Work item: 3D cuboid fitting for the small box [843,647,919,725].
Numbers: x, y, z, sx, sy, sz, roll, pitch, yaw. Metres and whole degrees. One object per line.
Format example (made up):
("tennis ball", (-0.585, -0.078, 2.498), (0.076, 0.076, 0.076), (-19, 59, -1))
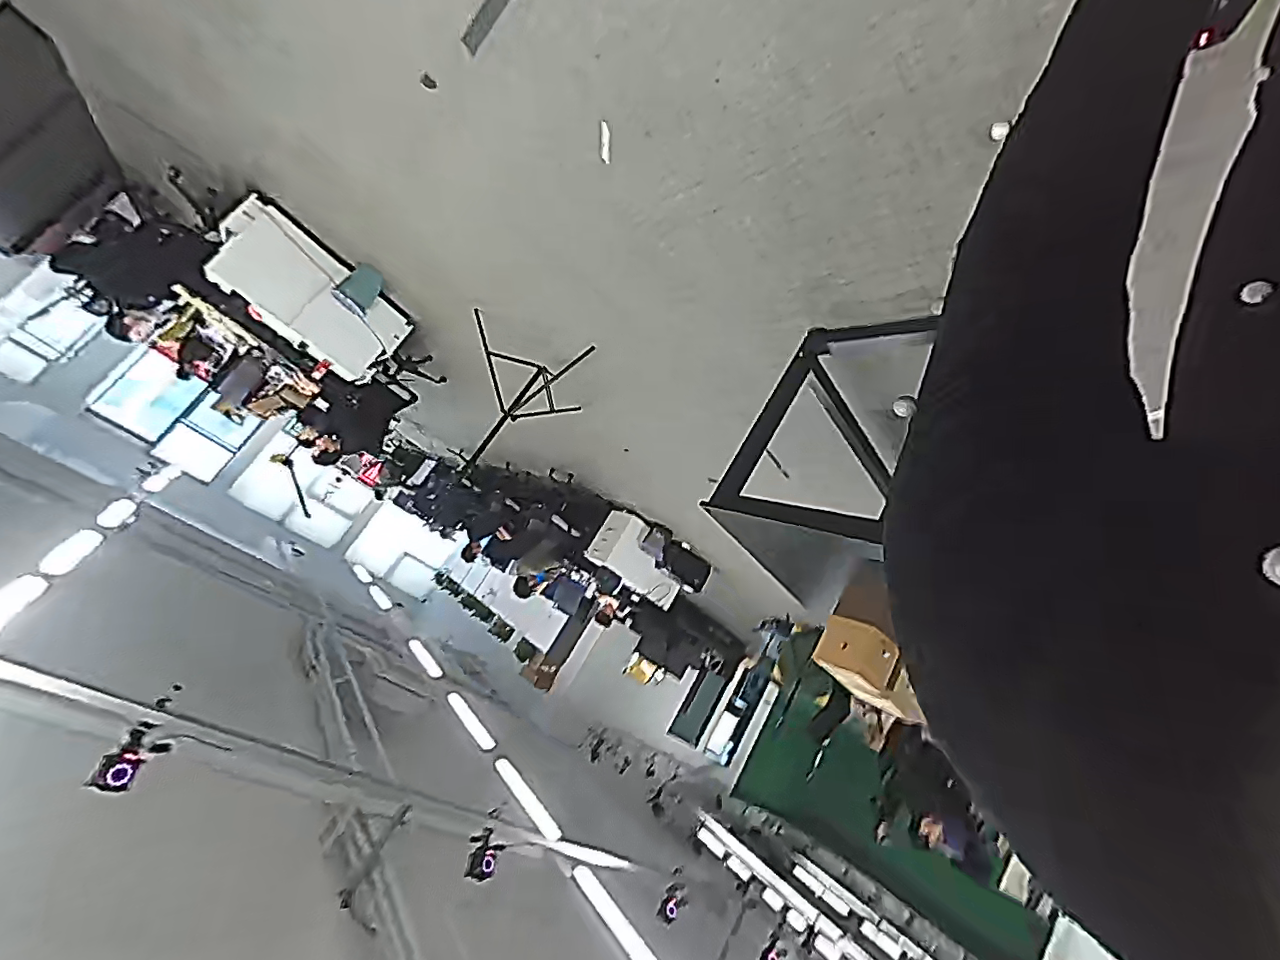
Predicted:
("small box", (0.838, 0.704, 1.863), (0.179, 0.176, 0.168), (13, 153, 51))
